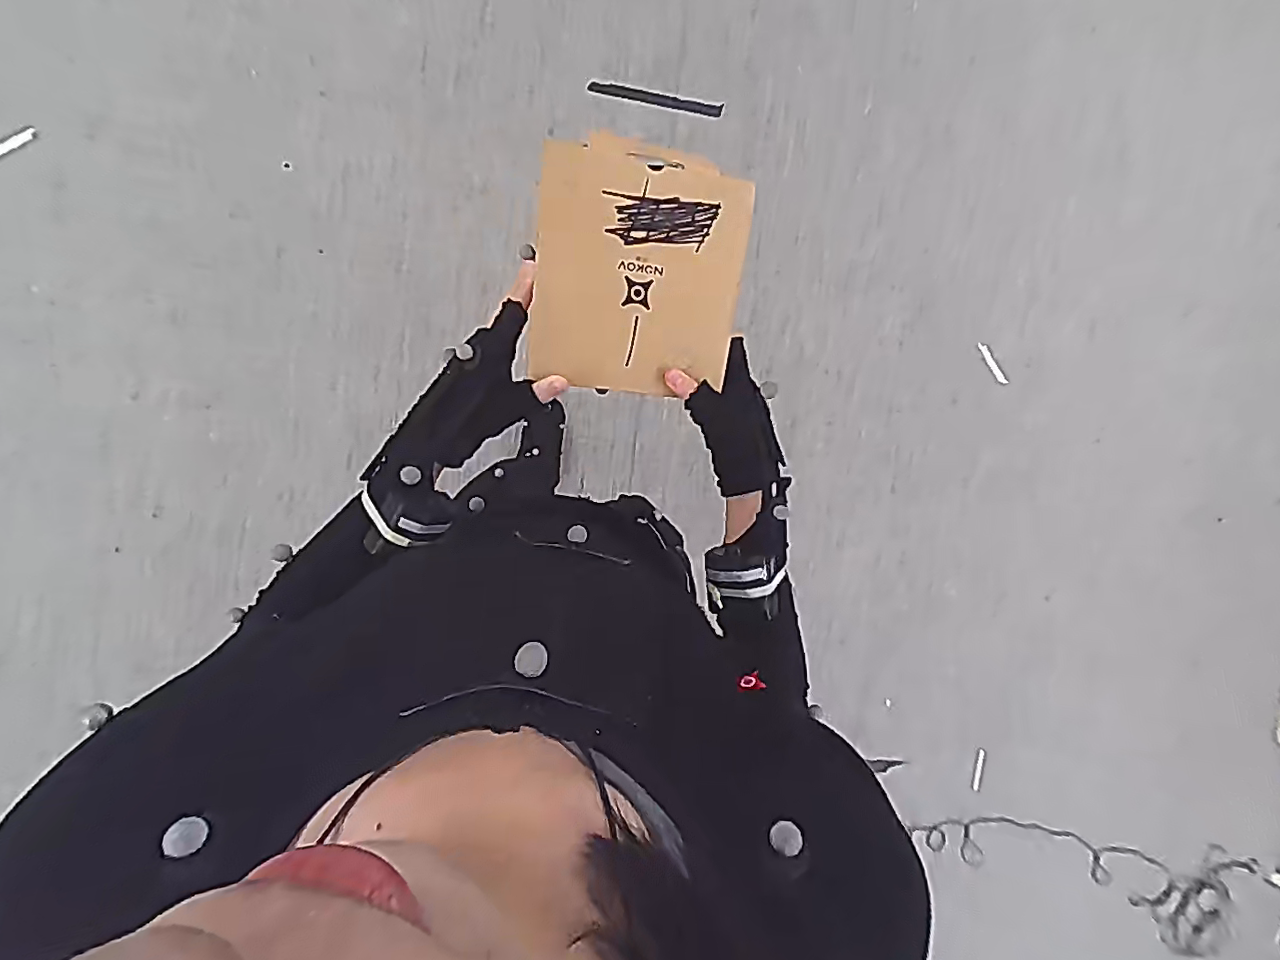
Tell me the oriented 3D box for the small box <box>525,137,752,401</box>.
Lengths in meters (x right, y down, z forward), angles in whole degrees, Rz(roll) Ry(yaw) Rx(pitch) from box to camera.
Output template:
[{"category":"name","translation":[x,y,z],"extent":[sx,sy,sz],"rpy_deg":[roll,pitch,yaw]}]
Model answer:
[{"category":"small box","translation":[-0.016,-0.180,0.501],"extent":[0.168,0.176,0.179],"rpy_deg":[5,106,-11]}]
